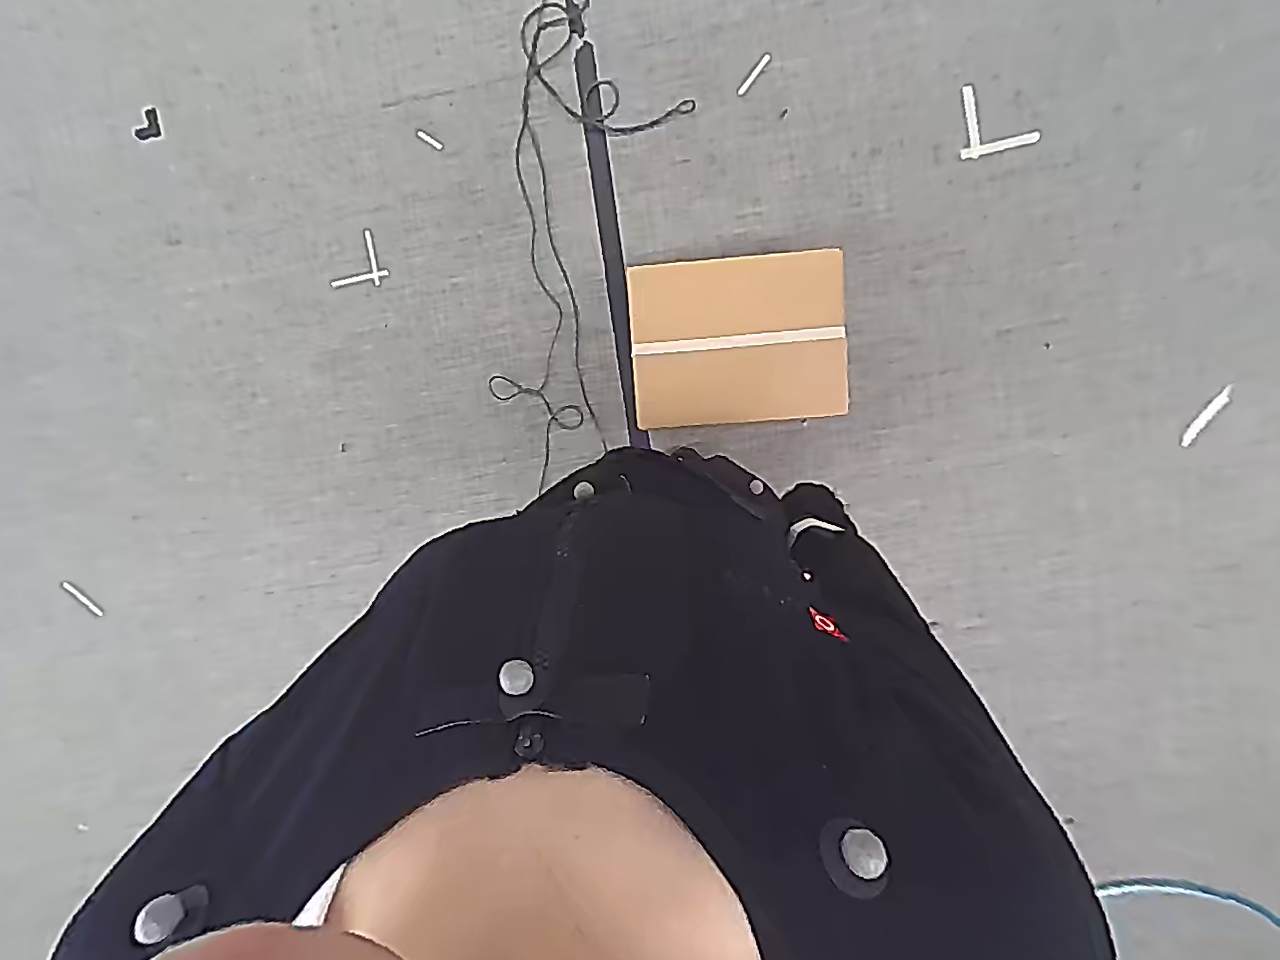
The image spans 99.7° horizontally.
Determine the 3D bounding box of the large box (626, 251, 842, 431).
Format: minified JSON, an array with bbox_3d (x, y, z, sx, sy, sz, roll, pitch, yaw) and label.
[{"bbox_3d":[0.192,-0.278,1.189,0.408,0.320,0.320,-4,94,4],"label":"large box"}]
